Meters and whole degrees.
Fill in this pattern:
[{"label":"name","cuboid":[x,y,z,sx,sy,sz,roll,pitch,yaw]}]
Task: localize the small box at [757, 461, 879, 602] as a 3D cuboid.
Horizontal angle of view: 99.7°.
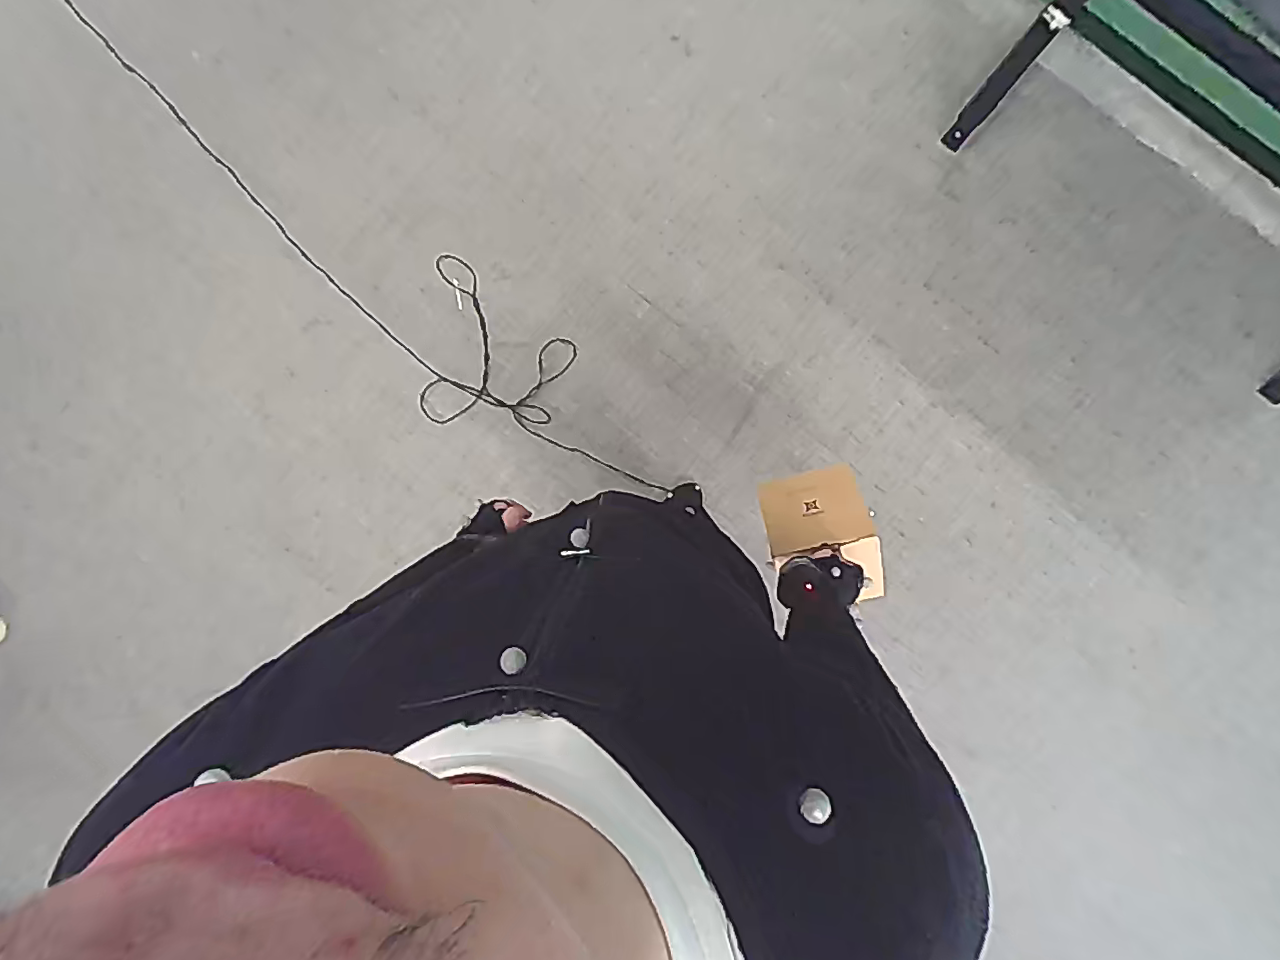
[{"label":"small box","cuboid":[0.314,0.099,0.957,0.168,0.179,0.176,-13,131,11]}]
